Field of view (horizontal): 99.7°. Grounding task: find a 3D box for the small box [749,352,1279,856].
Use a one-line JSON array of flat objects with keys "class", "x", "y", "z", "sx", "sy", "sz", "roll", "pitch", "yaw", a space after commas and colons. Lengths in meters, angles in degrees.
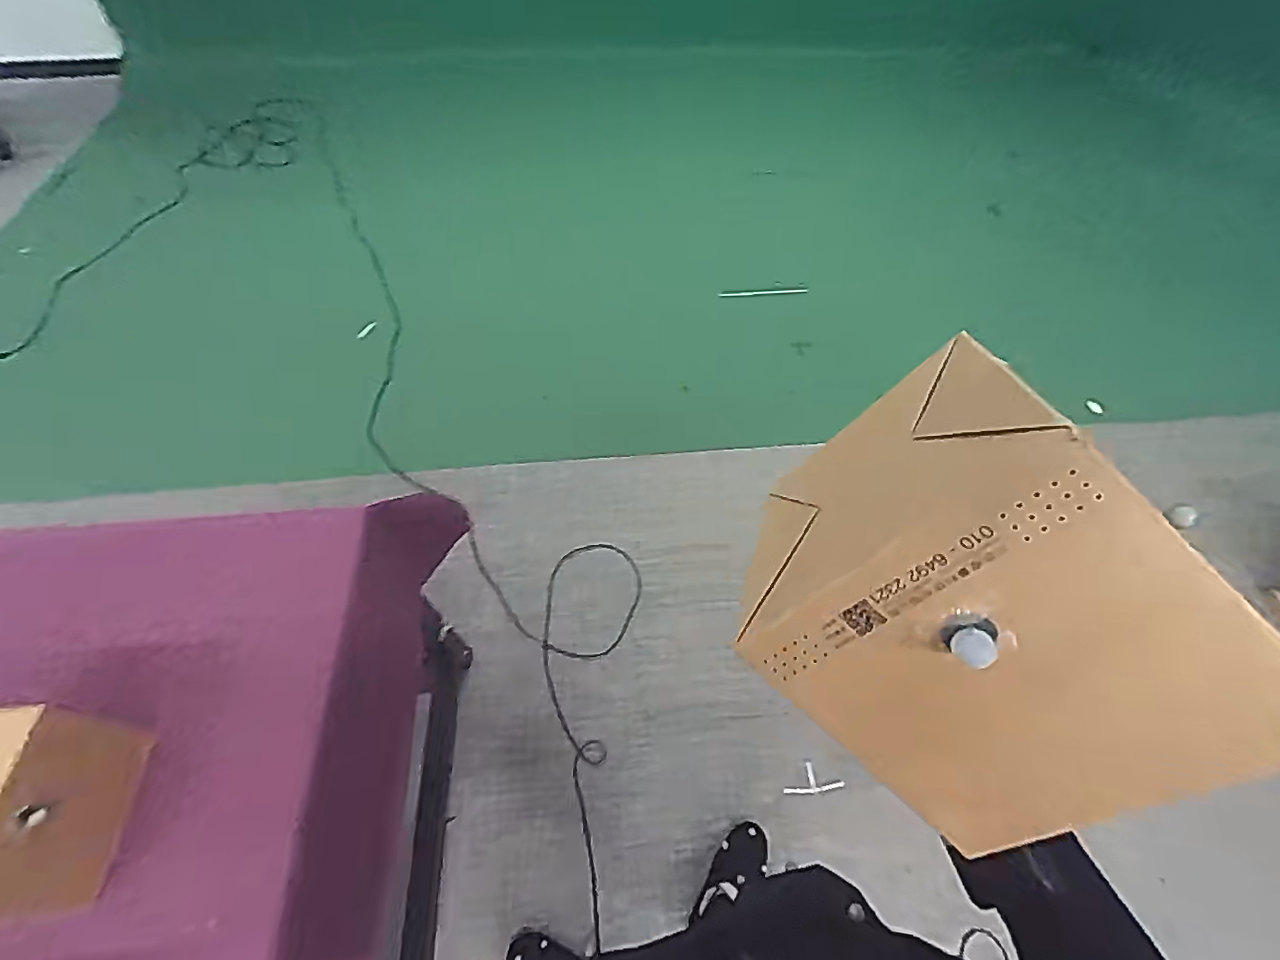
[{"class": "small box", "x": 0.183, "y": 0.052, "z": 0.301, "sx": 0.176, "sy": 0.168, "sz": 0.179, "roll": 42, "pitch": 31, "yaw": -2}]
